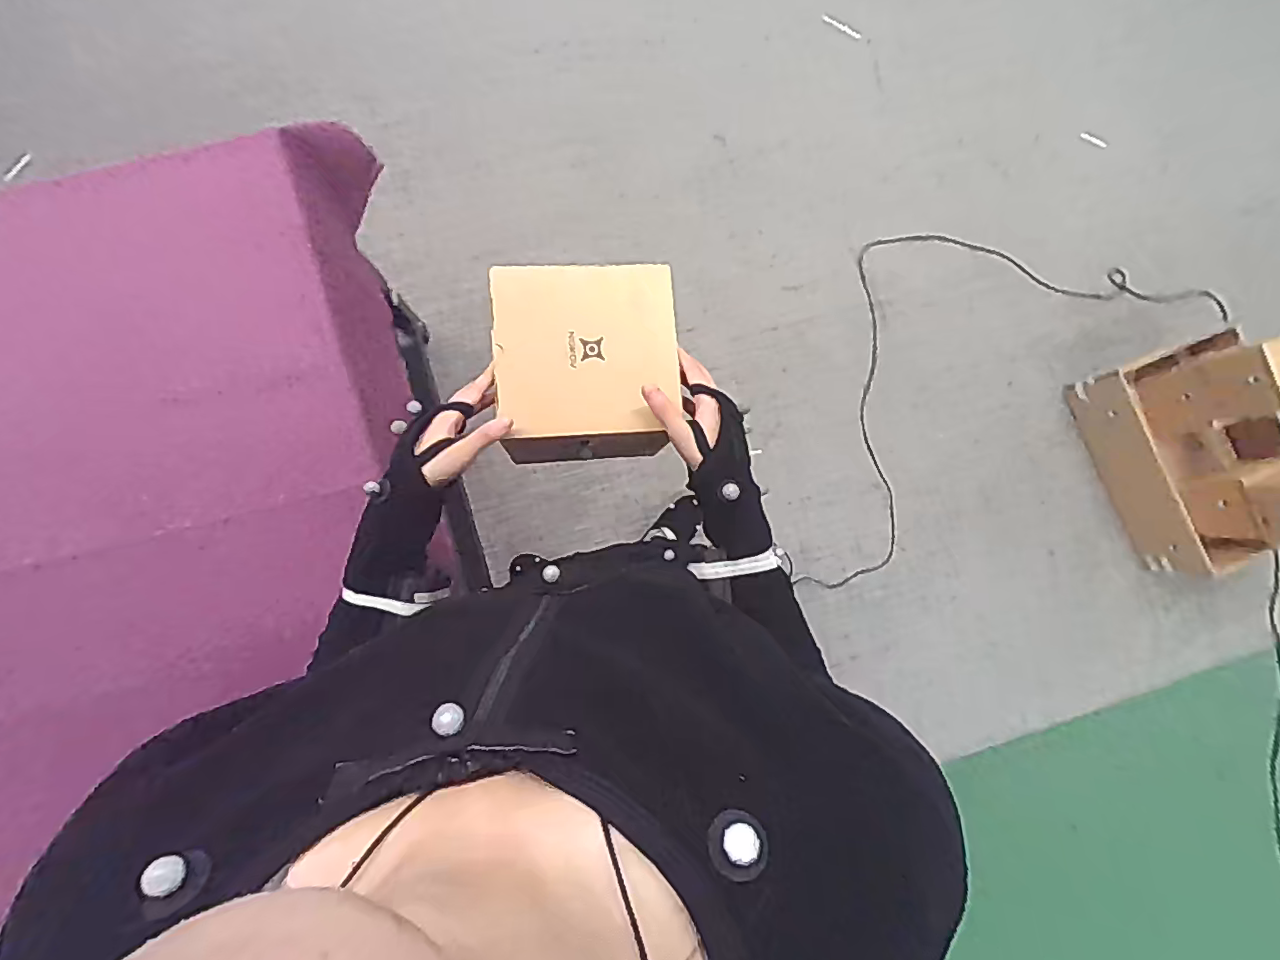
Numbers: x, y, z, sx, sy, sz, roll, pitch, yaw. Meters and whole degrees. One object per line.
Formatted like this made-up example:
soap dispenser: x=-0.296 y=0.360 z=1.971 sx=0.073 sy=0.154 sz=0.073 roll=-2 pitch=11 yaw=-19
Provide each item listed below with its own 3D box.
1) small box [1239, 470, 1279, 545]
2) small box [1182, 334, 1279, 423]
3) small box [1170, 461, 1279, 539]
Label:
small box: x=1.696 y=0.065 z=1.373 sx=0.179 sy=0.176 sz=0.168 roll=-19 pitch=88 yaw=-6
small box: x=1.569 y=-0.261 z=1.391 sx=0.168 sy=0.176 sz=0.179 roll=-19 pitch=88 yaw=-4
small box: x=1.682 y=0.063 z=1.538 sx=0.168 sy=0.176 sz=0.179 roll=-19 pitch=87 yaw=-5
